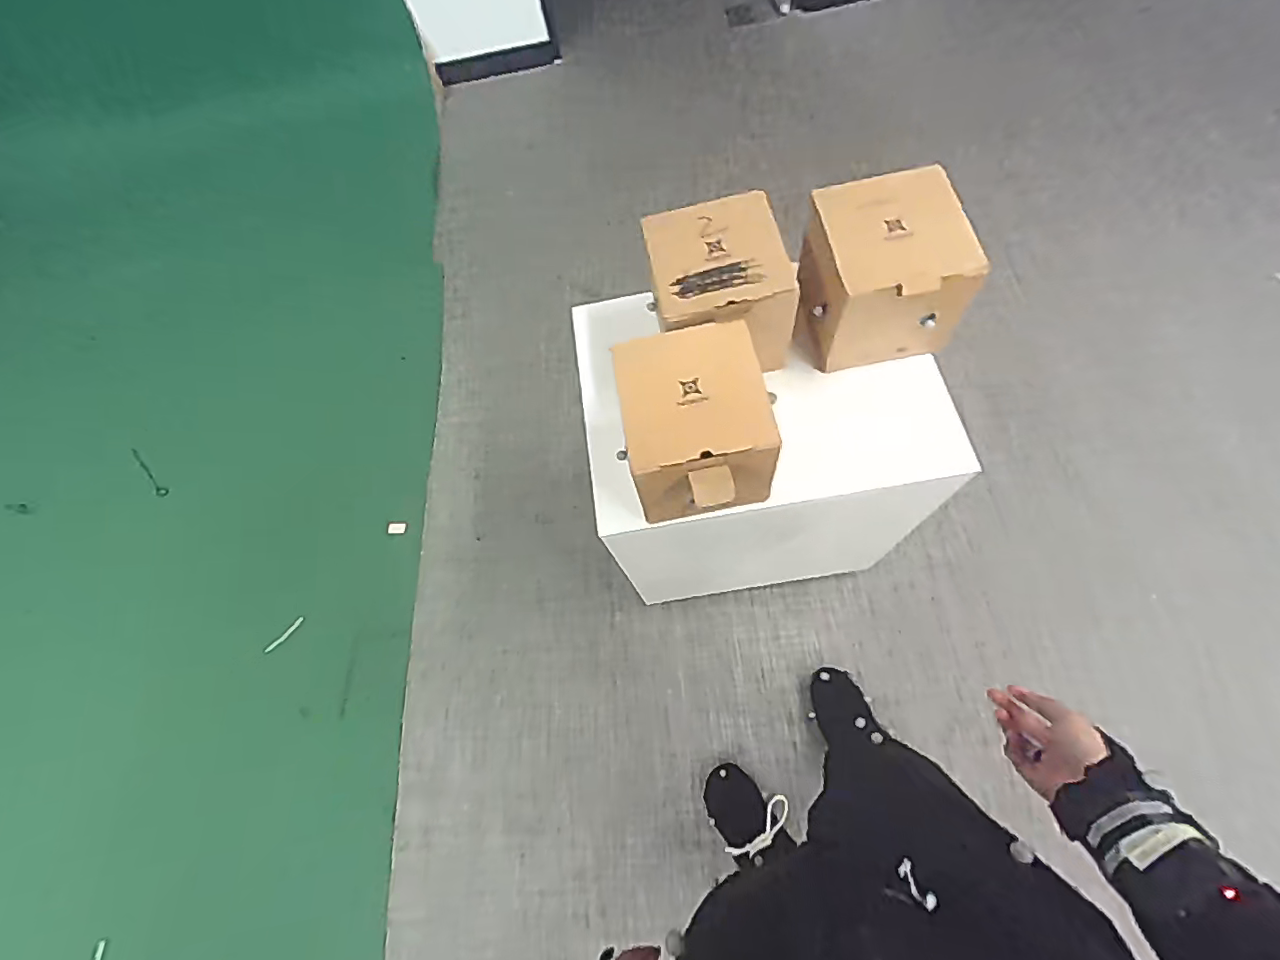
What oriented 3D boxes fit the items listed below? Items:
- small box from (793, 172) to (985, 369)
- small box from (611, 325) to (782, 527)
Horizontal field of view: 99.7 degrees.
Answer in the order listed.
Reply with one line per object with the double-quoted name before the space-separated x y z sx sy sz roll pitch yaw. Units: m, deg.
"small box" 0.315 -0.267 0.728 0.168 0.176 0.179 -11 66 3
"small box" 0.065 -0.060 0.677 0.168 0.176 0.179 -12 66 2
